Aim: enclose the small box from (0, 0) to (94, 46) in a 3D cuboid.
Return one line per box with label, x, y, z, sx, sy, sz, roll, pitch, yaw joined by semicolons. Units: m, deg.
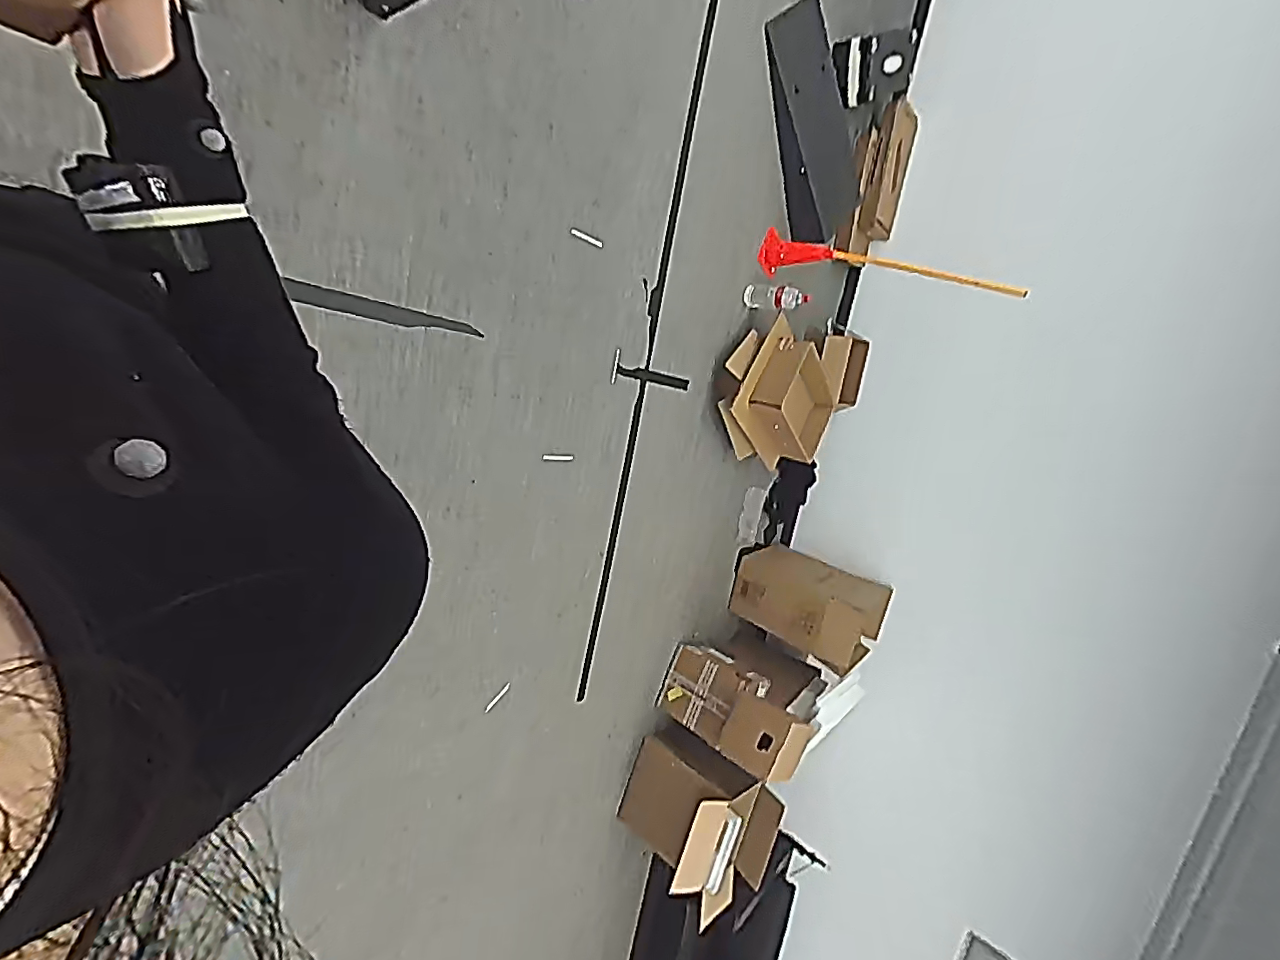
small box;-0.319;-0.319;0.204;0.168;0.176;0.179;-6;104;-54
